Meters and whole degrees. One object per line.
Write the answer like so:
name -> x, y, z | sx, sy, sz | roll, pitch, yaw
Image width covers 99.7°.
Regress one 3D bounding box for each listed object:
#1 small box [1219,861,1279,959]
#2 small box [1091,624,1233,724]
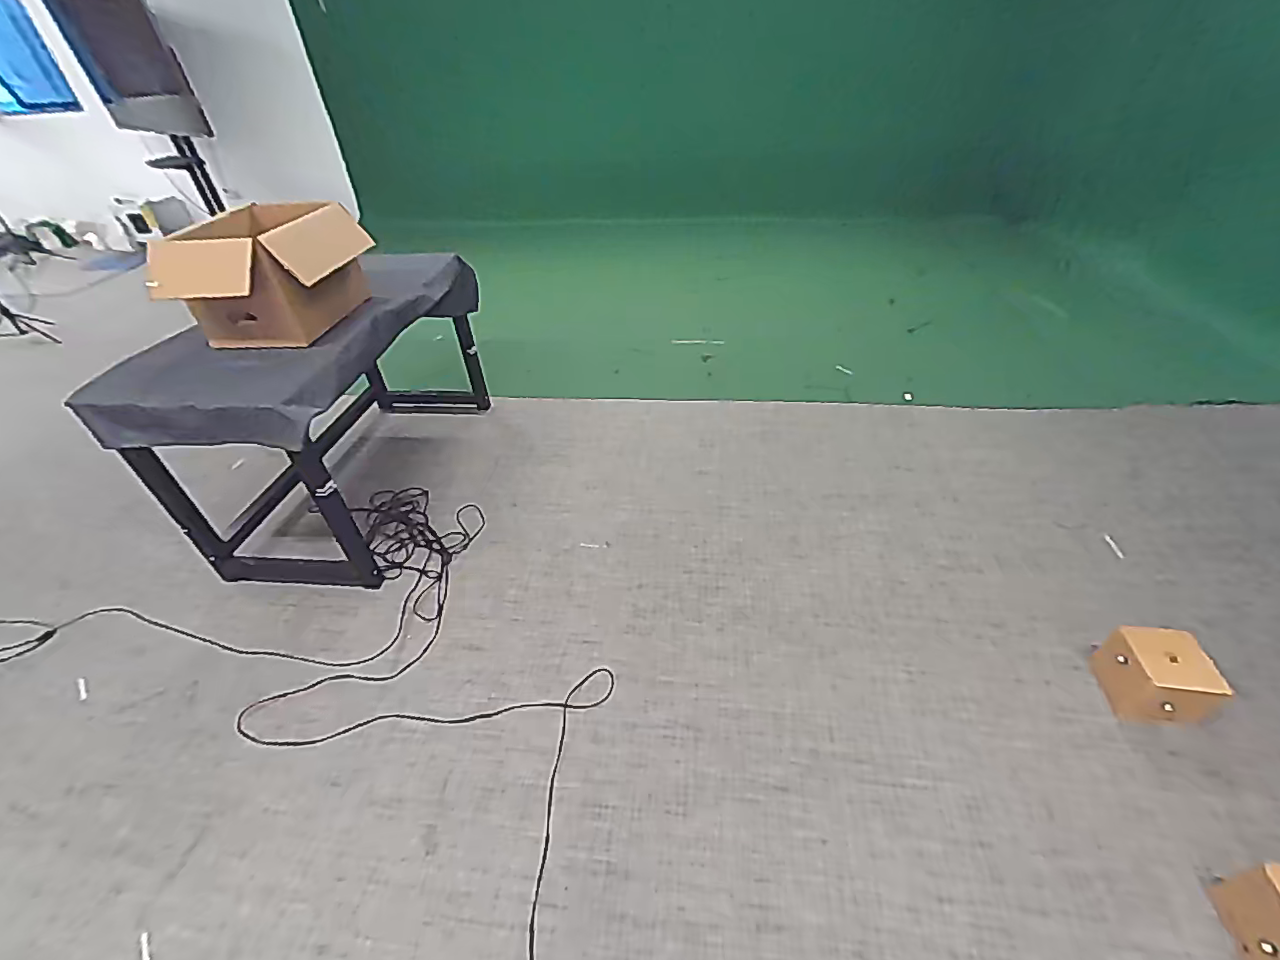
small box -> 1.221, 0.826, 0.975 | 0.179, 0.176, 0.168 | 7, 42, 11
small box -> 1.306, 0.493, 1.369 | 0.168, 0.176, 0.179 | 3, 40, 9
